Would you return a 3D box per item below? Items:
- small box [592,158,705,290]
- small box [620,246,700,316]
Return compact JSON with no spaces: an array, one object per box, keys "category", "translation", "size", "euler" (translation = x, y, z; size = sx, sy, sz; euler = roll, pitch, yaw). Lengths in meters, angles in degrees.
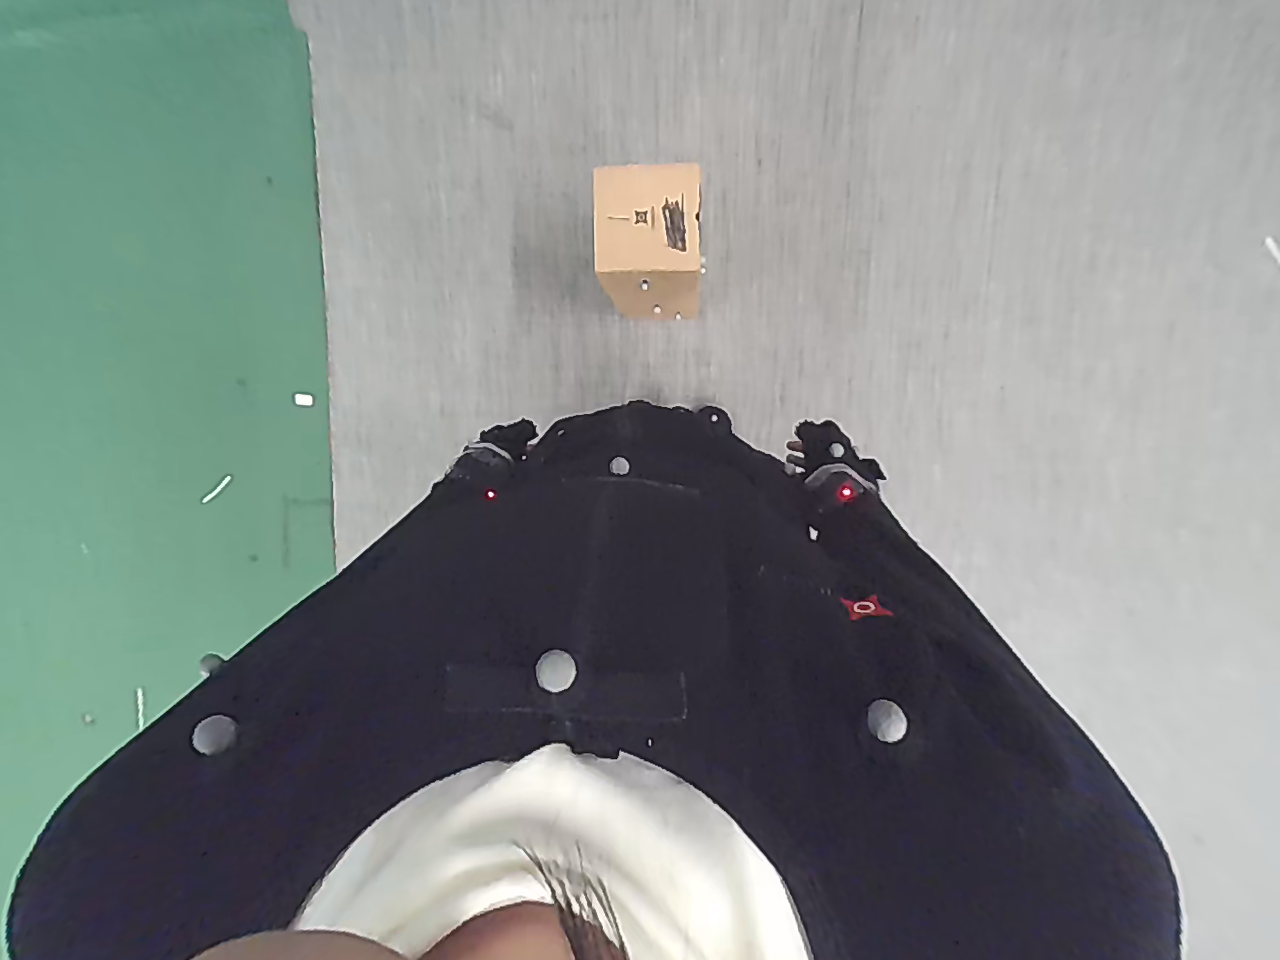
[{"category":"small box","translation":[0.018,-0.441,0.953],"size":[0.179,0.176,0.168],"euler":[4,96,4]},{"category":"small box","translation":[0.051,-0.486,1.279],"size":[0.179,0.176,0.168],"euler":[1,97,6]}]
